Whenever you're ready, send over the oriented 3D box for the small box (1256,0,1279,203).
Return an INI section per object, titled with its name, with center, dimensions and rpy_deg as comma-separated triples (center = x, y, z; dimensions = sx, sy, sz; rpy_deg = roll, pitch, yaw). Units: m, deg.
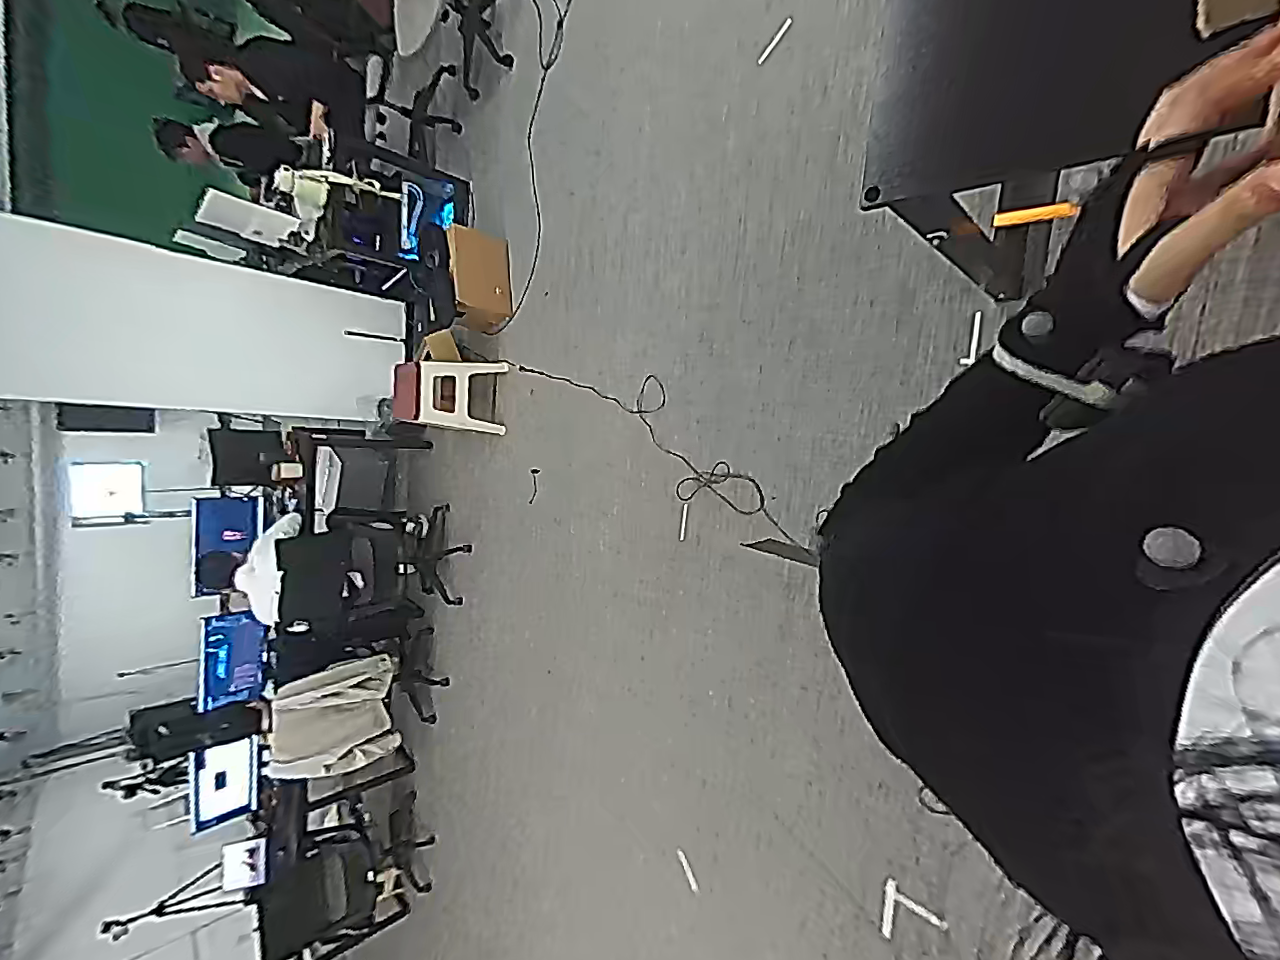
[small box]
center = 0.388, -0.226, 0.217
dimensions = 0.168, 0.176, 0.179
rpy_deg = 6, 111, 43
